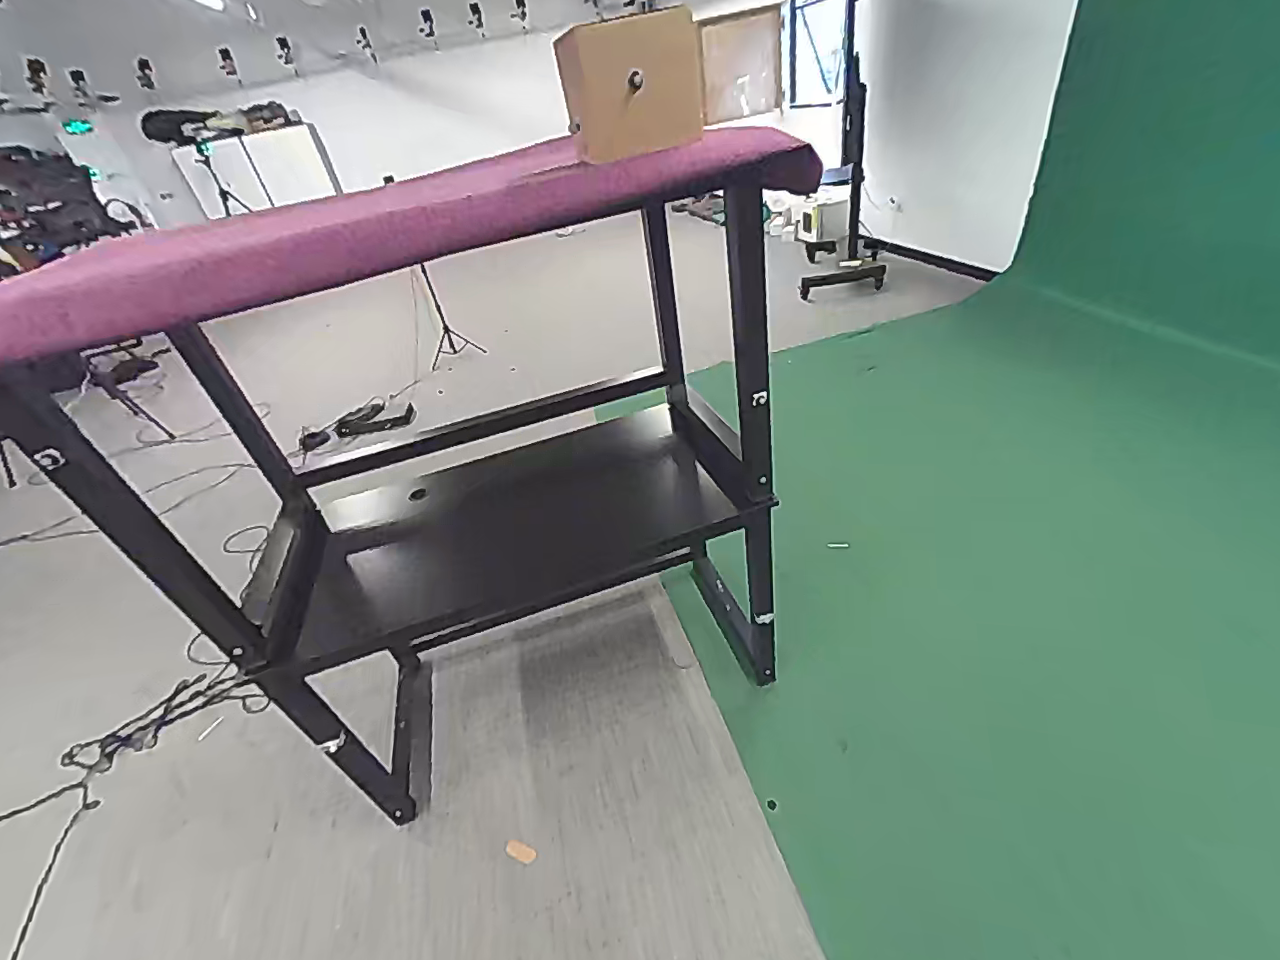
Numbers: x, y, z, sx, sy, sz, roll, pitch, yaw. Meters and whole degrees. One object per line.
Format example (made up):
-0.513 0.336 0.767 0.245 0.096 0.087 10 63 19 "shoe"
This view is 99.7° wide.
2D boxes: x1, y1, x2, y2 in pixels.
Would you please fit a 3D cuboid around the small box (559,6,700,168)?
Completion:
-0.012 -0.608 0.847 0.179 0.176 0.168 -18 36 -6 "small box"
